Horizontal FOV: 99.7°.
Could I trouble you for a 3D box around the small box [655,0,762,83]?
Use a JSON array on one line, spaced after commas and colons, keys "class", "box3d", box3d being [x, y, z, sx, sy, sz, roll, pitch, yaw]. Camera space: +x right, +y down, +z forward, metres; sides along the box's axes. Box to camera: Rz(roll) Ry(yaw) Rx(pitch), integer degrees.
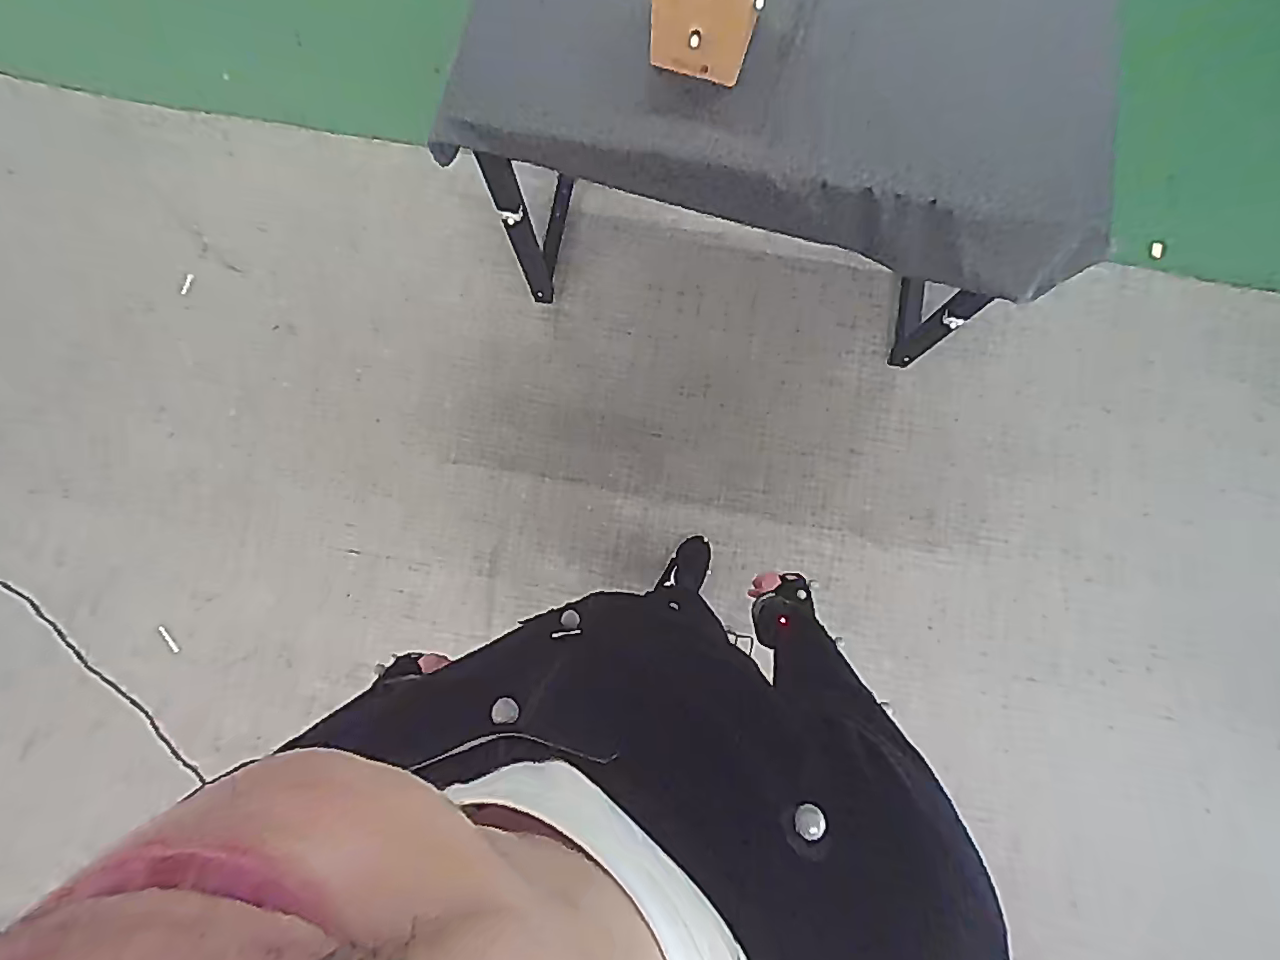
[{"class": "small box", "box3d": [0.125, -0.839, 0.935, 0.168, 0.176, 0.179, 14, 81, 4]}]
